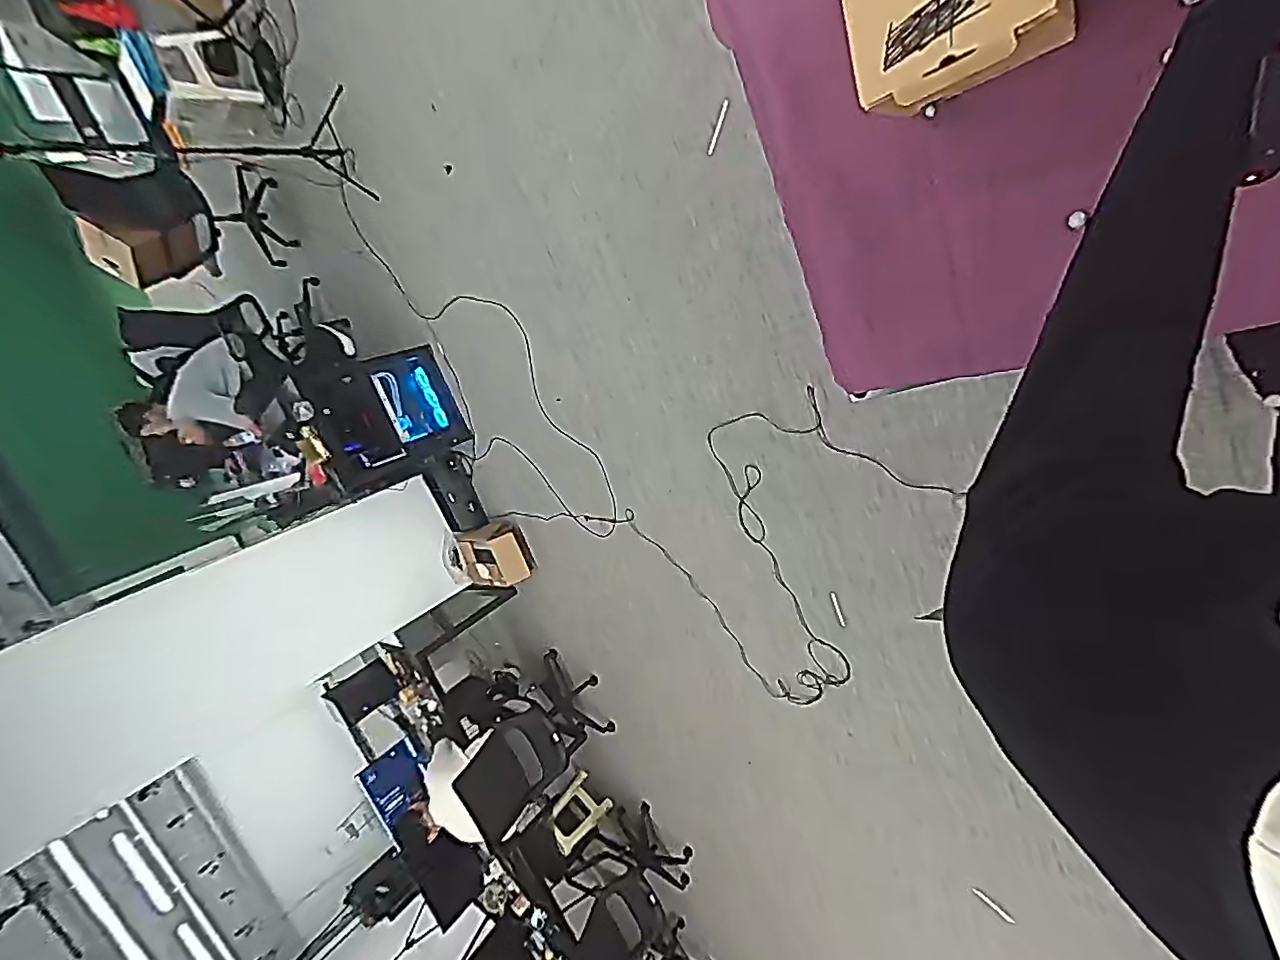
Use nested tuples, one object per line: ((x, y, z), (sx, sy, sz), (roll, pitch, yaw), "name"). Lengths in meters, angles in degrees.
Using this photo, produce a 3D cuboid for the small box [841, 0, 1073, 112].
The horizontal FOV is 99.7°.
((0.311, -0.496, 0.532), (0.168, 0.176, 0.179), (-3, 112, 44), "small box")
